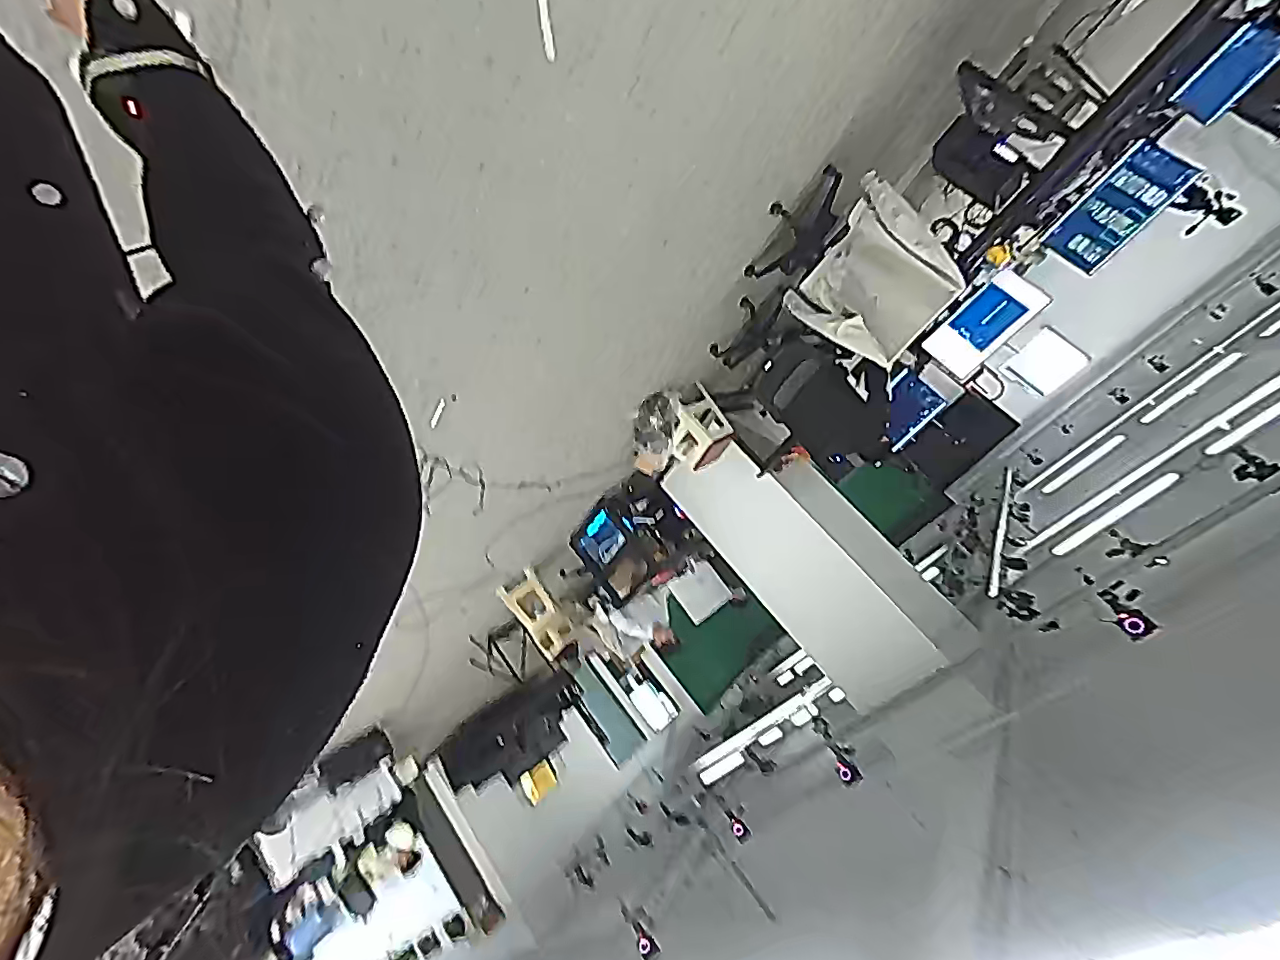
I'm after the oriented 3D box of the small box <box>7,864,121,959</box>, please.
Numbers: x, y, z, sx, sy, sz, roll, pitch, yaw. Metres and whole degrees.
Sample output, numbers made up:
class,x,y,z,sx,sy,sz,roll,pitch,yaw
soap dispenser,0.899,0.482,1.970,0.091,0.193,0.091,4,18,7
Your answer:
class,x,y,z,sx,sy,sz,roll,pitch,yaw
small box,-1.463,1.128,1.374,0.168,0.176,0.179,-15,148,-55
